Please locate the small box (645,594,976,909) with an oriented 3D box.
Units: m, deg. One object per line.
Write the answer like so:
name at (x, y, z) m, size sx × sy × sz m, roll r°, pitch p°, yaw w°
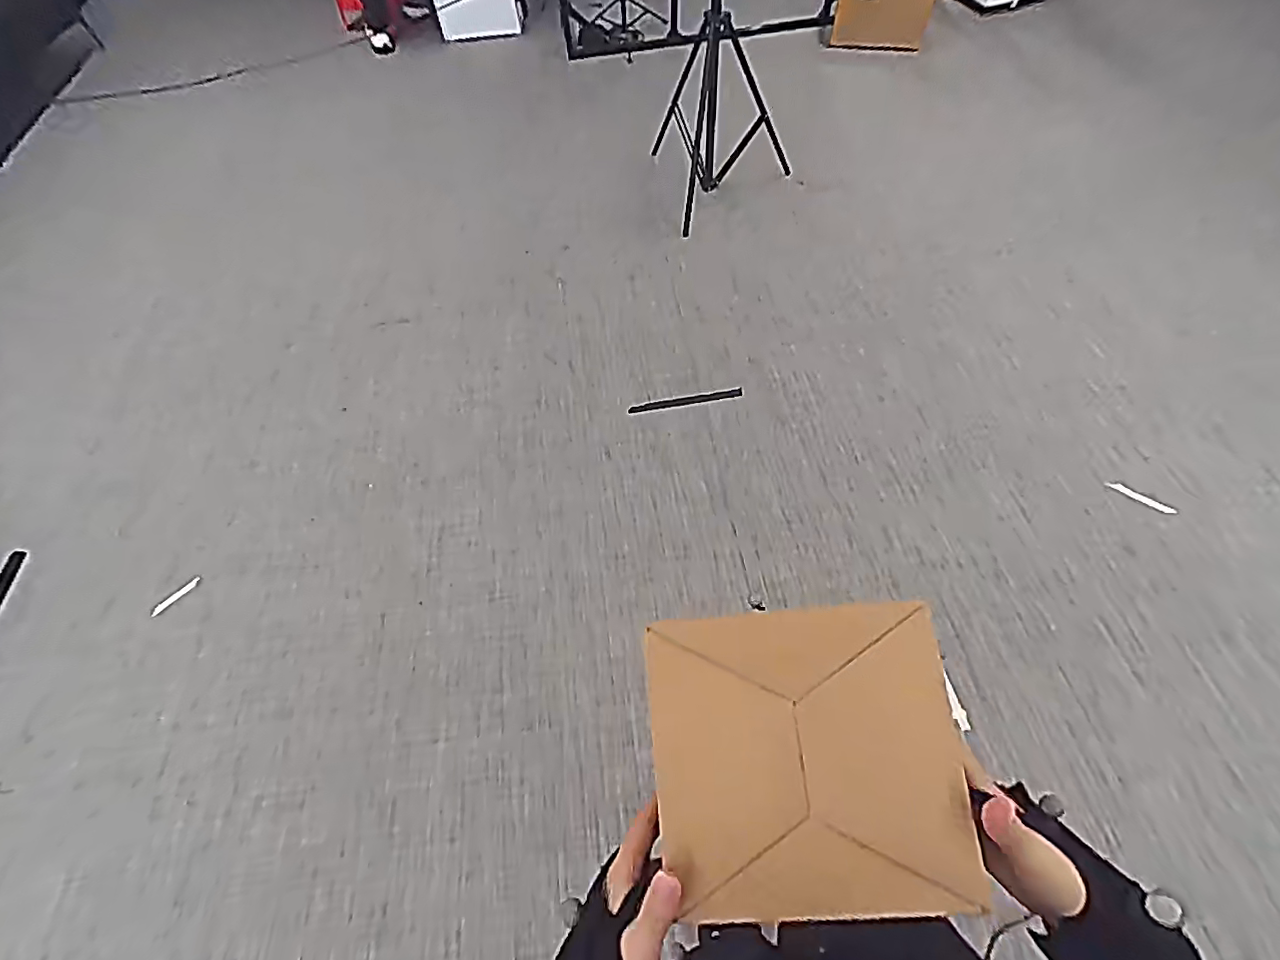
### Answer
small box at (0.106, 0.174, 0.393) m, size 0.179 × 0.176 × 0.168 m, roll -6°, pitch 76°, yaw 5°
